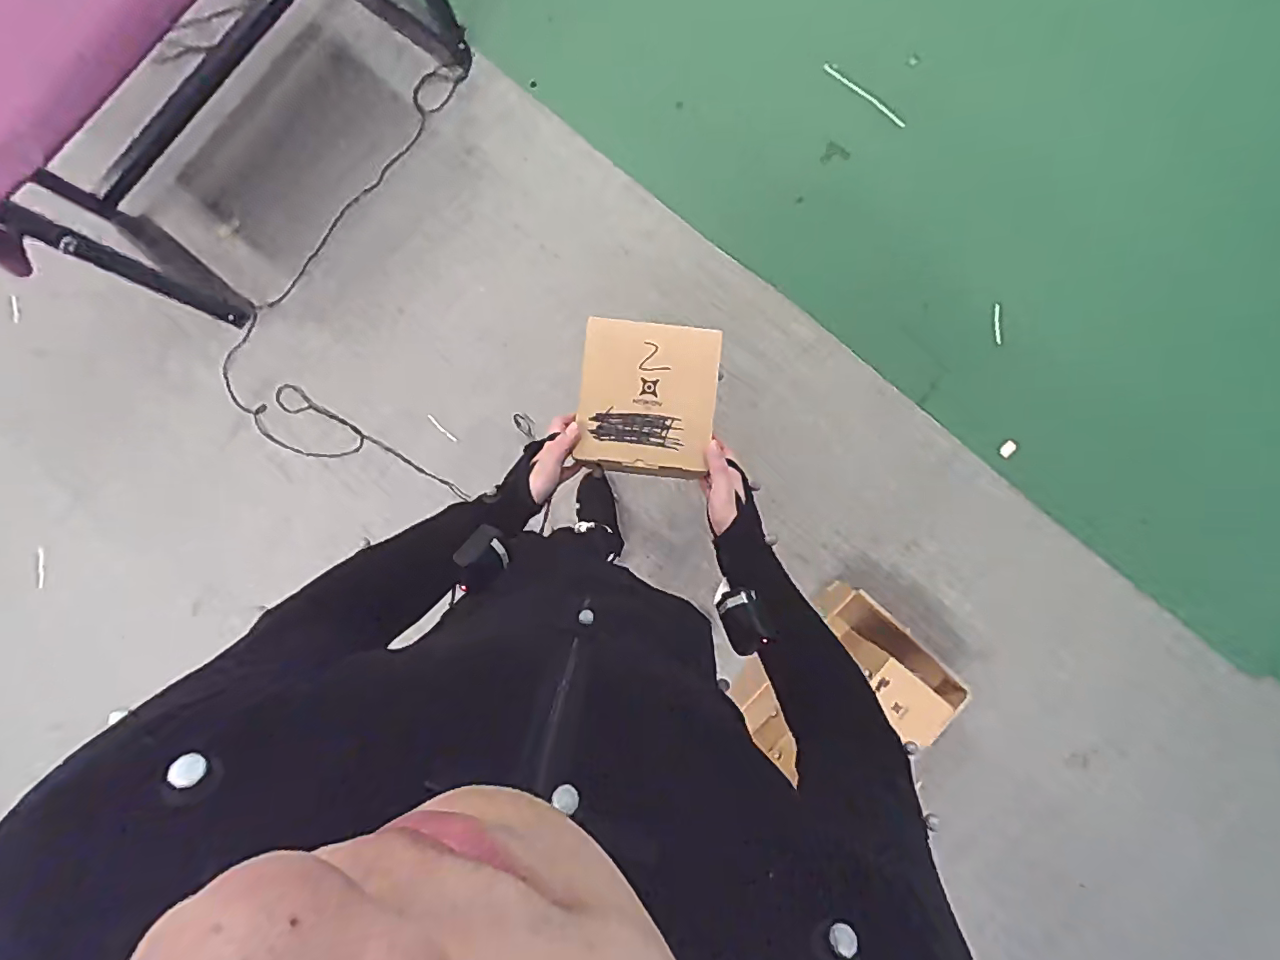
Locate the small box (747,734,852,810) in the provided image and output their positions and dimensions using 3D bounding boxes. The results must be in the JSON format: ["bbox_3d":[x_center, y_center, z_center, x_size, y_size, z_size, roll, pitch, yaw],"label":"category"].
[{"bbox_3d":[0.377,0.747,1.284,0.168,0.176,0.179,-43,84,1],"label":"small box"}]

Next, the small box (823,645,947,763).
[{"bbox_3d":[0.571,0.519,1.284,0.179,0.176,0.168,40,87,4],"label":"small box"}]
